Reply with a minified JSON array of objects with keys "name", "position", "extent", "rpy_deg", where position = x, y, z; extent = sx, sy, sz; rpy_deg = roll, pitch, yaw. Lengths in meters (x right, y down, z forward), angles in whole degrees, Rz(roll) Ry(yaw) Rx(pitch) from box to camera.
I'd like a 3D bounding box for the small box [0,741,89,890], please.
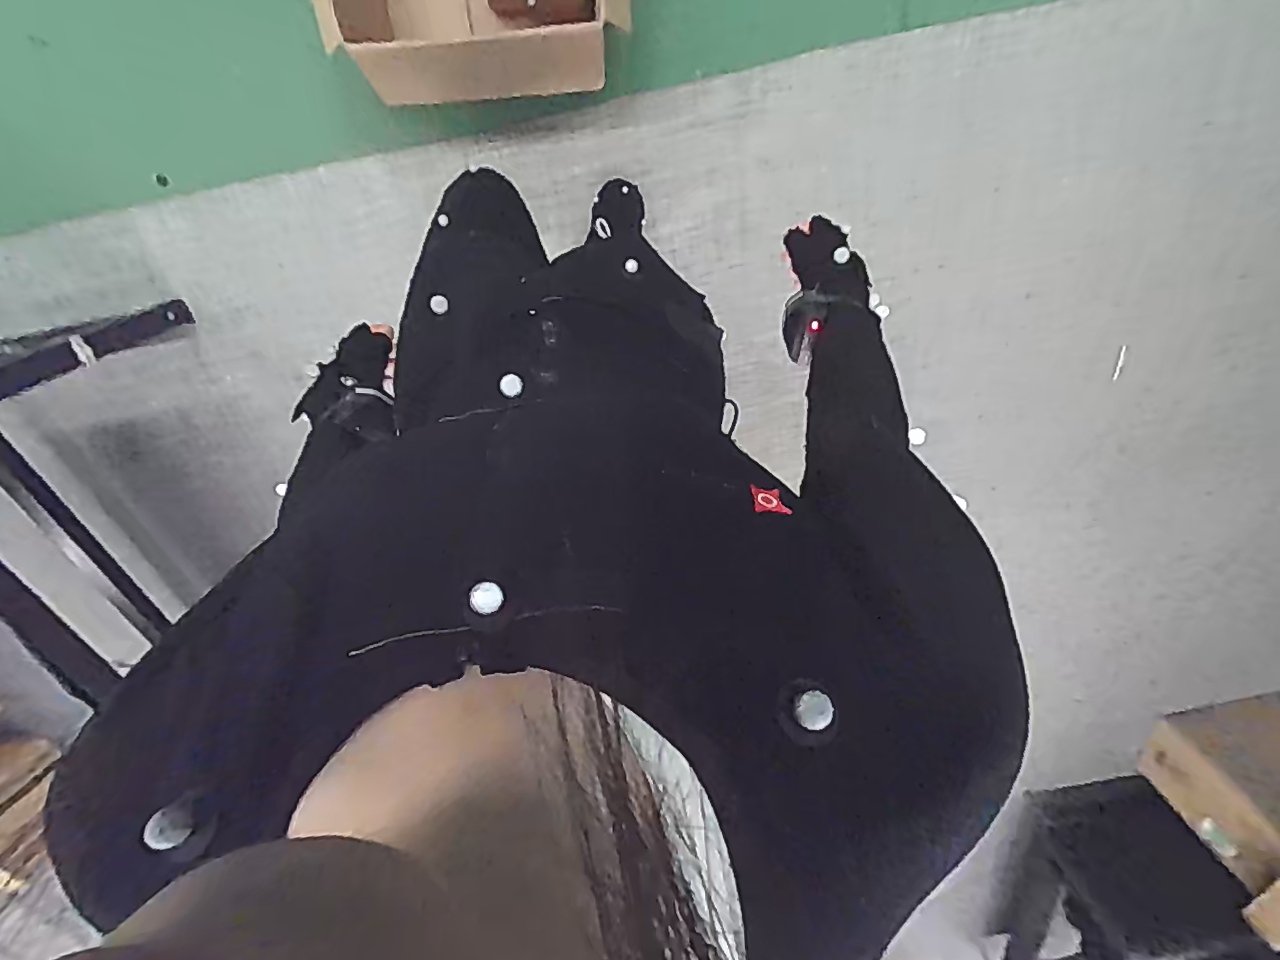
[{"name":"small box","position":[-1.103,0.566,0.910],"extent":[0.179,0.176,0.168],"rpy_deg":[-10,121,1]}]
